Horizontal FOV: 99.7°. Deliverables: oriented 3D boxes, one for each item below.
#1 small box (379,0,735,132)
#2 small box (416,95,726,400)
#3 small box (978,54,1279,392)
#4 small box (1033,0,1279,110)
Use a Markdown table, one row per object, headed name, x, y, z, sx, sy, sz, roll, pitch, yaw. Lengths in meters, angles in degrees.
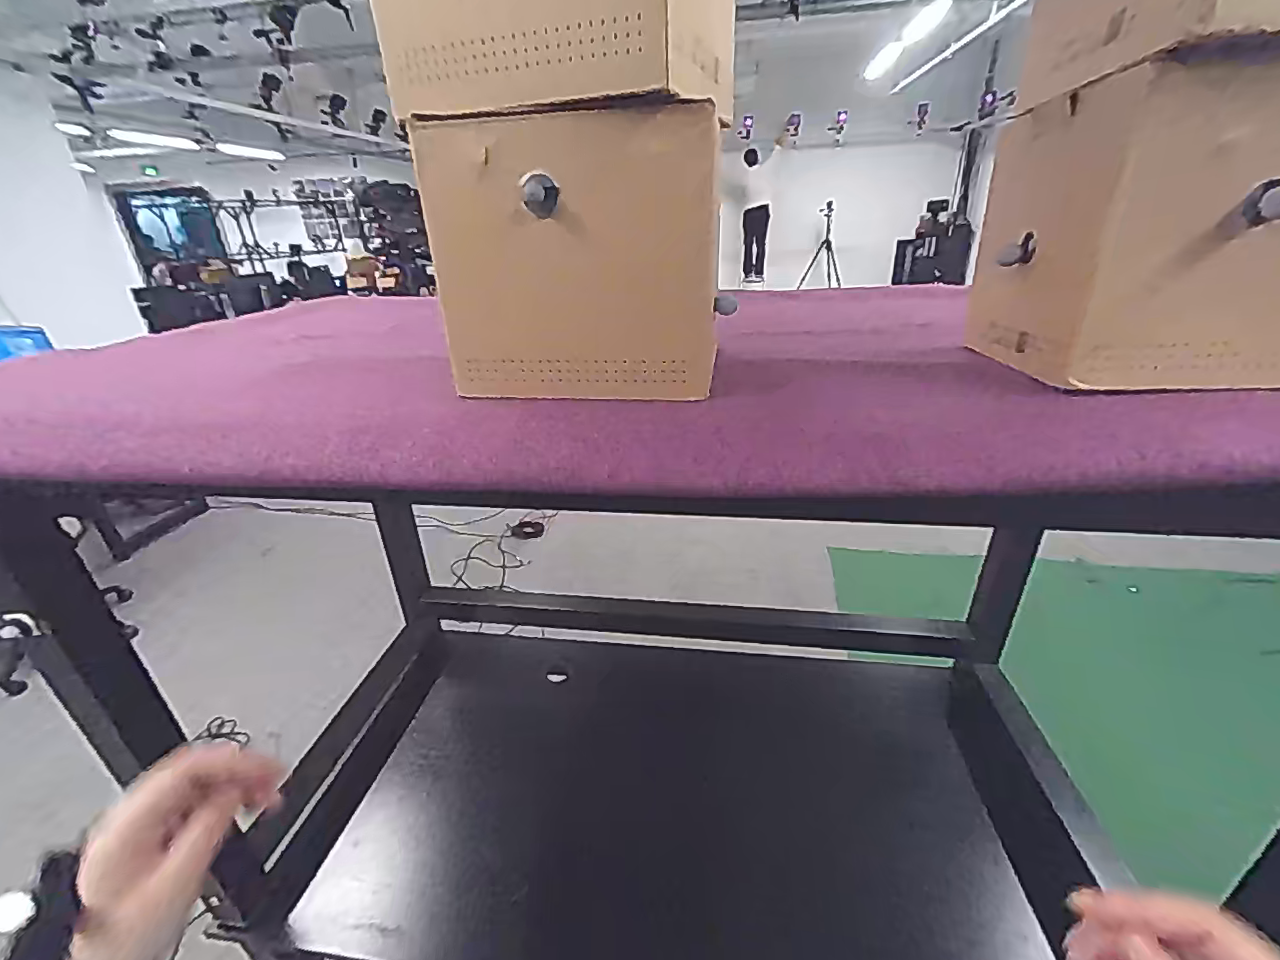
| name | x | y | z | sx | sy | sz | roll | pitch | yaw |
| --- | --- | --- | --- | --- | --- | --- | --- | --- | --- |
| small box | -0.040 | -0.308 | 0.330 | 0.179 | 0.176 | 0.168 | 6 | 27 | 19 |
| small box | -0.029 | -0.162 | 0.401 | 0.179 | 0.176 | 0.168 | 3 | 27 | 9 |
| small box | 0.347 | -0.156 | 0.353 | 0.179 | 0.176 | 0.168 | 0 | 24 | 10 |
| small box | 0.338 | -0.301 | 0.276 | 0.179 | 0.176 | 0.168 | 1 | 24 | 9 |
